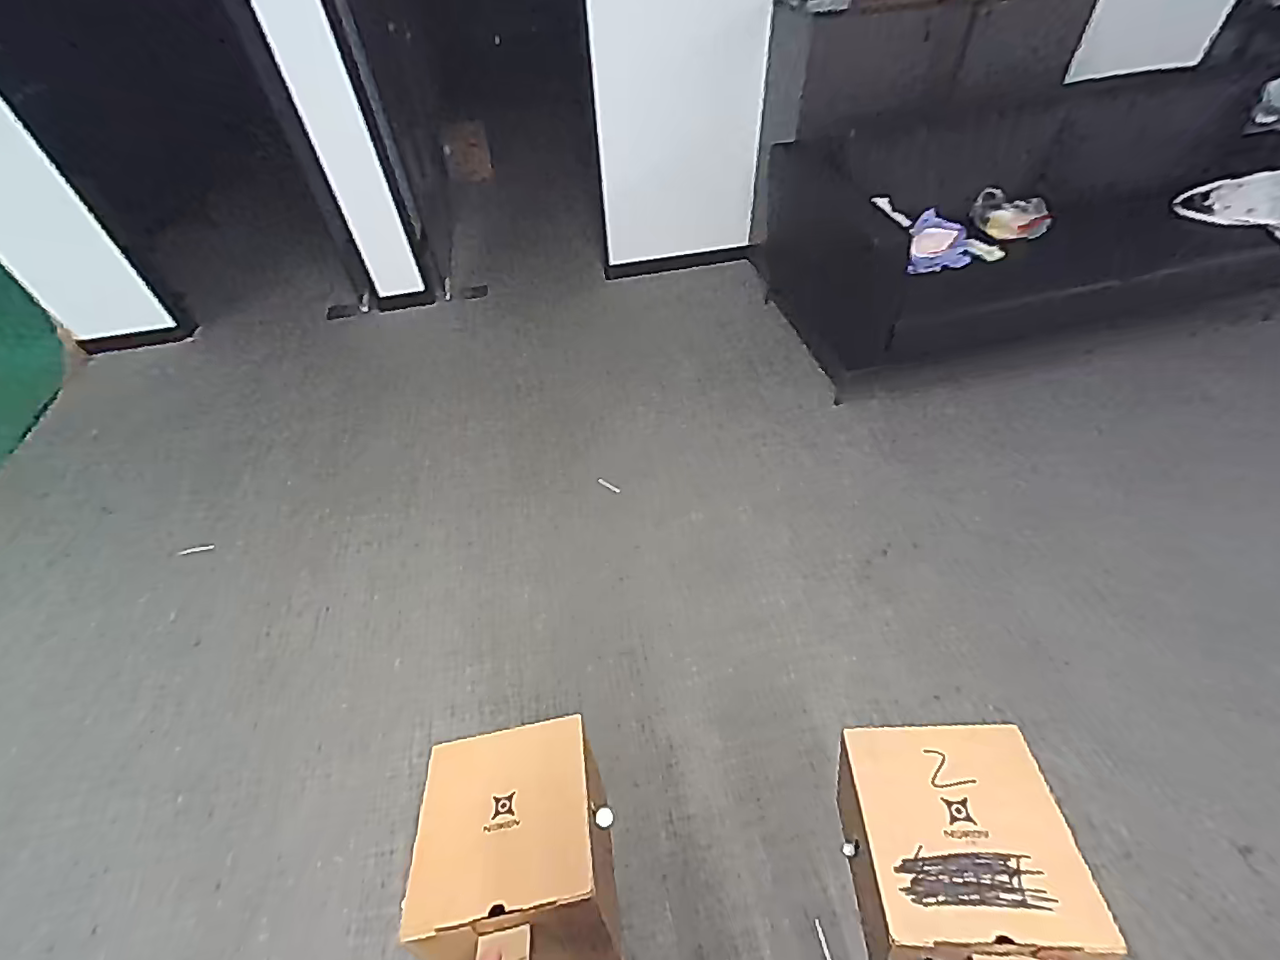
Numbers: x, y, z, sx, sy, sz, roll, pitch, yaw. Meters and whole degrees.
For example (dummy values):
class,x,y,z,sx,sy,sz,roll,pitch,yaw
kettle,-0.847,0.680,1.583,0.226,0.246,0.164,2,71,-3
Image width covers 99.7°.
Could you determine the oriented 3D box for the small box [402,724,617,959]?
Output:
class,x,y,z,sx,sy,sz,roll,pitch,yaw
small box,-0.123,0.399,0.571,0.168,0.176,0.179,-11,32,-4
